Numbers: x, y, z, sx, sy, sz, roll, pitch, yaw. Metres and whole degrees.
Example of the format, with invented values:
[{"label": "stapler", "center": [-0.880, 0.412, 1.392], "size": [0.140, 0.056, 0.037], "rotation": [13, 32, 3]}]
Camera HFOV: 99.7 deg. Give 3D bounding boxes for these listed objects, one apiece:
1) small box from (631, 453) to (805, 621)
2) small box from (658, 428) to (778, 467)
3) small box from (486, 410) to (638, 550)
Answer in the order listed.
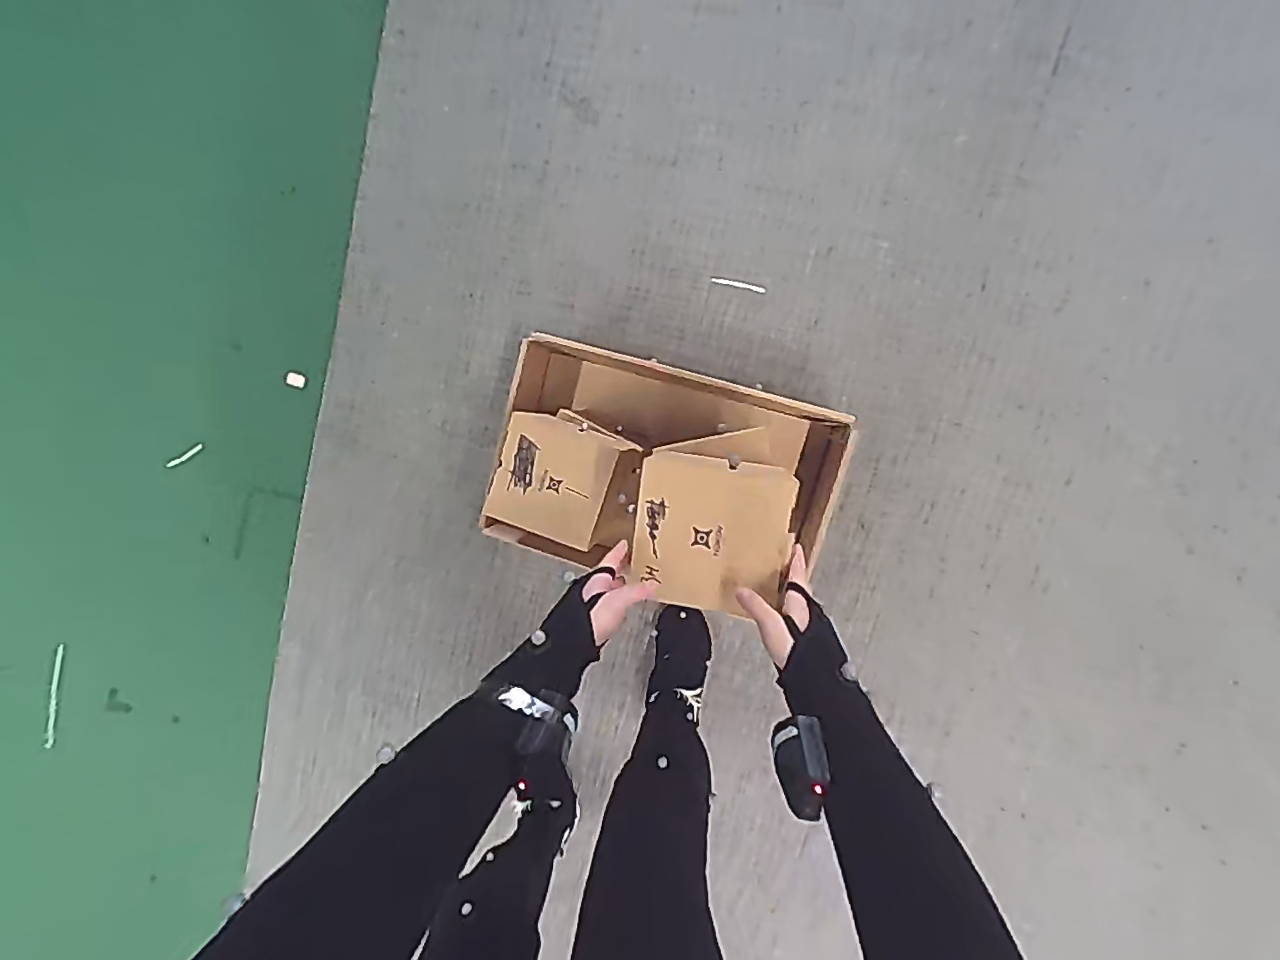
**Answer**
[{"label": "small box", "center": [0.097, 0.059, 0.687], "size": [0.179, 0.176, 0.168], "rotation": [9, 97, 8]}, {"label": "small box", "center": [0.133, 0.018, 0.842], "size": [0.168, 0.176, 0.179], "rotation": [-10, 93, 11]}, {"label": "small box", "center": [-0.118, -0.005, 0.883], "size": [0.179, 0.176, 0.168], "rotation": [20, 98, 5]}]
